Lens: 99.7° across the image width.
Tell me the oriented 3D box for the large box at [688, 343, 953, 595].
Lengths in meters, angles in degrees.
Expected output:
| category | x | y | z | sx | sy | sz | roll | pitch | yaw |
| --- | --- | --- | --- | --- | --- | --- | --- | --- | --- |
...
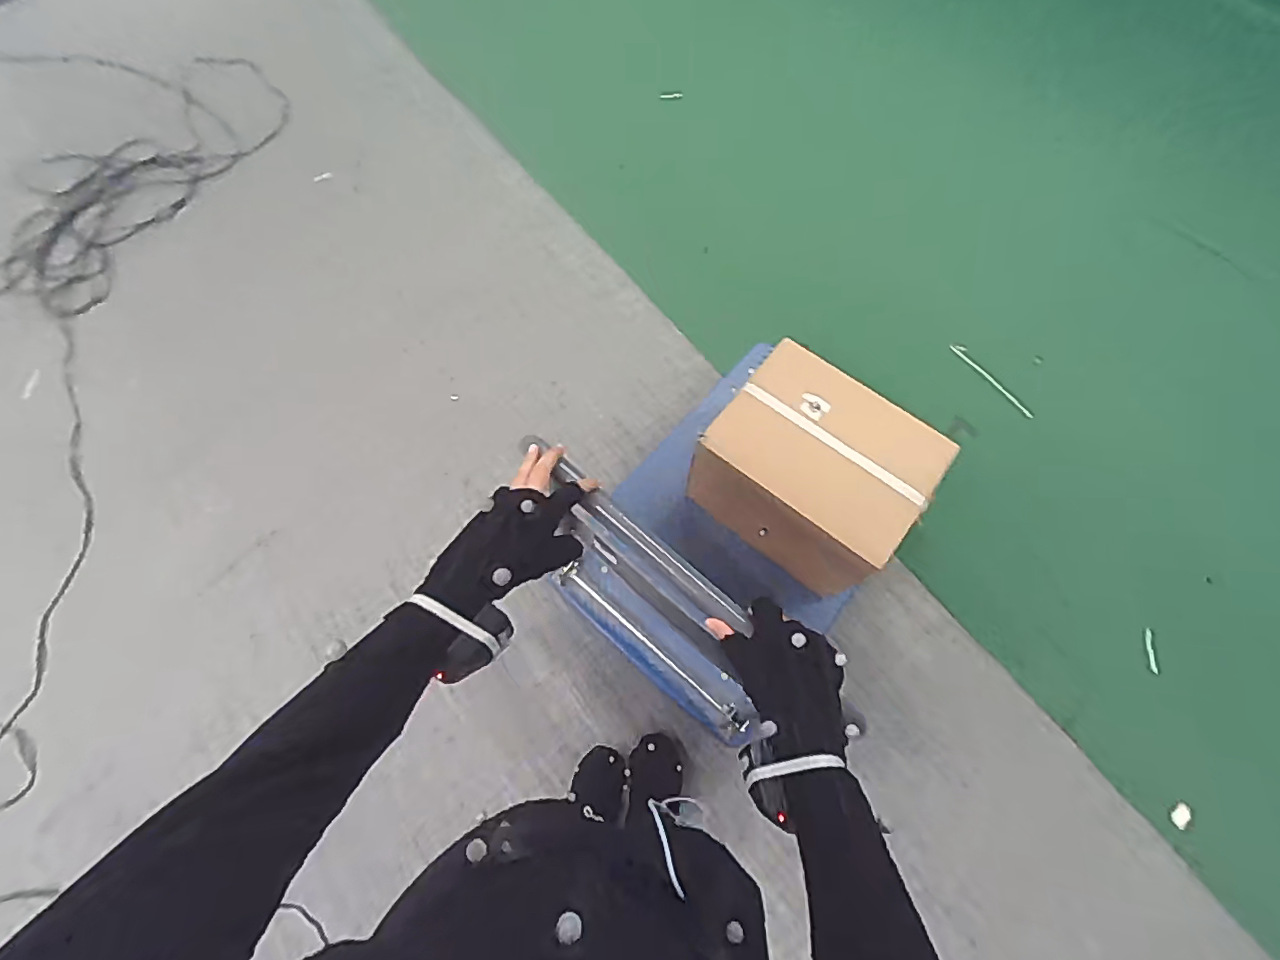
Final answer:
| category | x | y | z | sx | sy | sz | roll | pitch | yaw |
| --- | --- | --- | --- | --- | --- | --- | --- | --- | --- |
| large box | 0.358 | -0.010 | 1.178 | 0.408 | 0.320 | 0.320 | 38 | 72 | 15 |
